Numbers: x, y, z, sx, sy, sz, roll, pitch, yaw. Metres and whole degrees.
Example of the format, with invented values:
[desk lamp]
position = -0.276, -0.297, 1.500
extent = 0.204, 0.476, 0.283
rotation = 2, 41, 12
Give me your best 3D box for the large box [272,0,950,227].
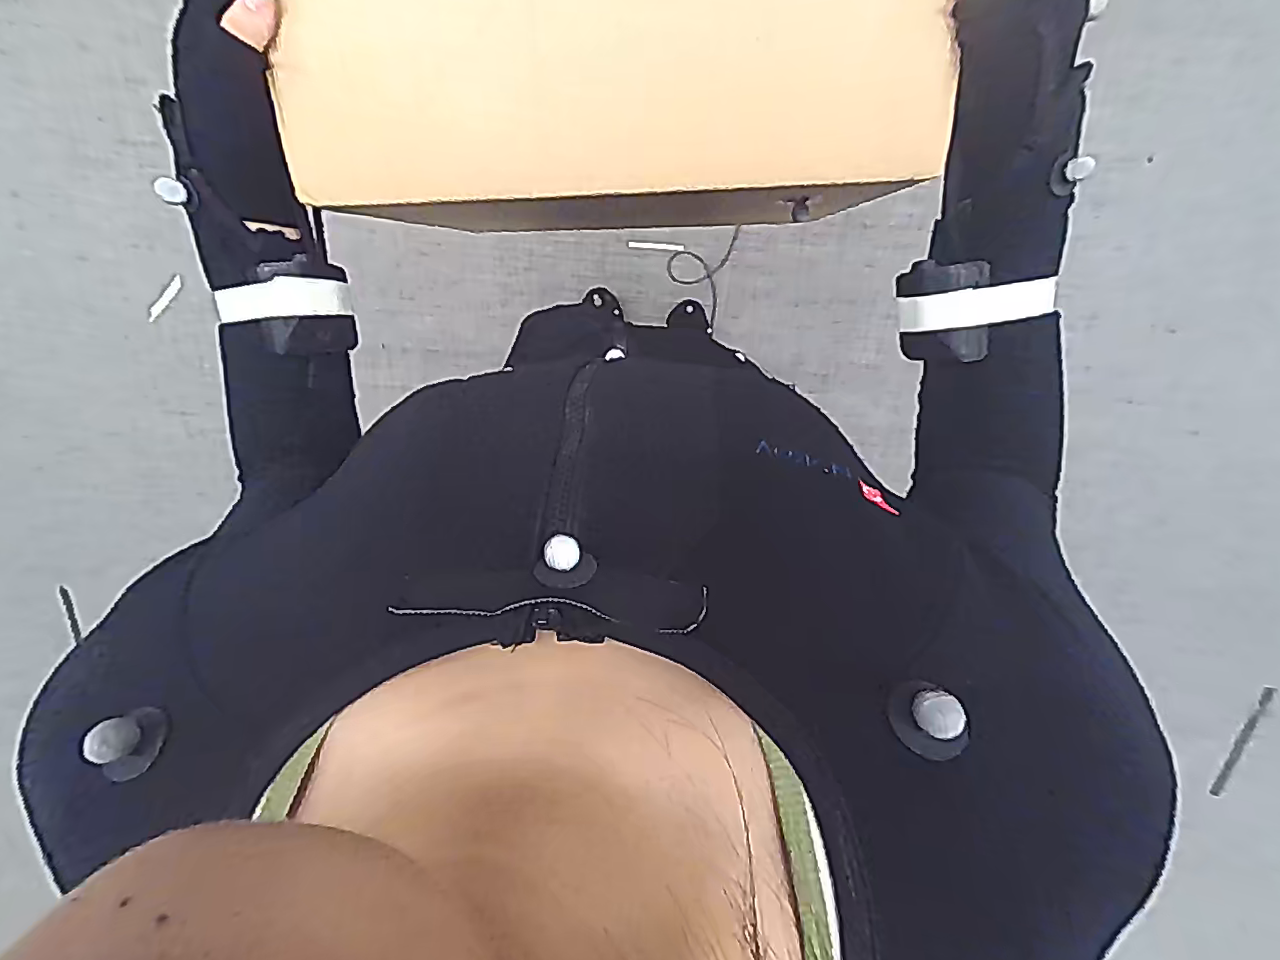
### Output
[large box]
position = -0.013, -0.387, 0.432
extent = 0.408, 0.320, 0.320
rotation = 0, 111, 5
